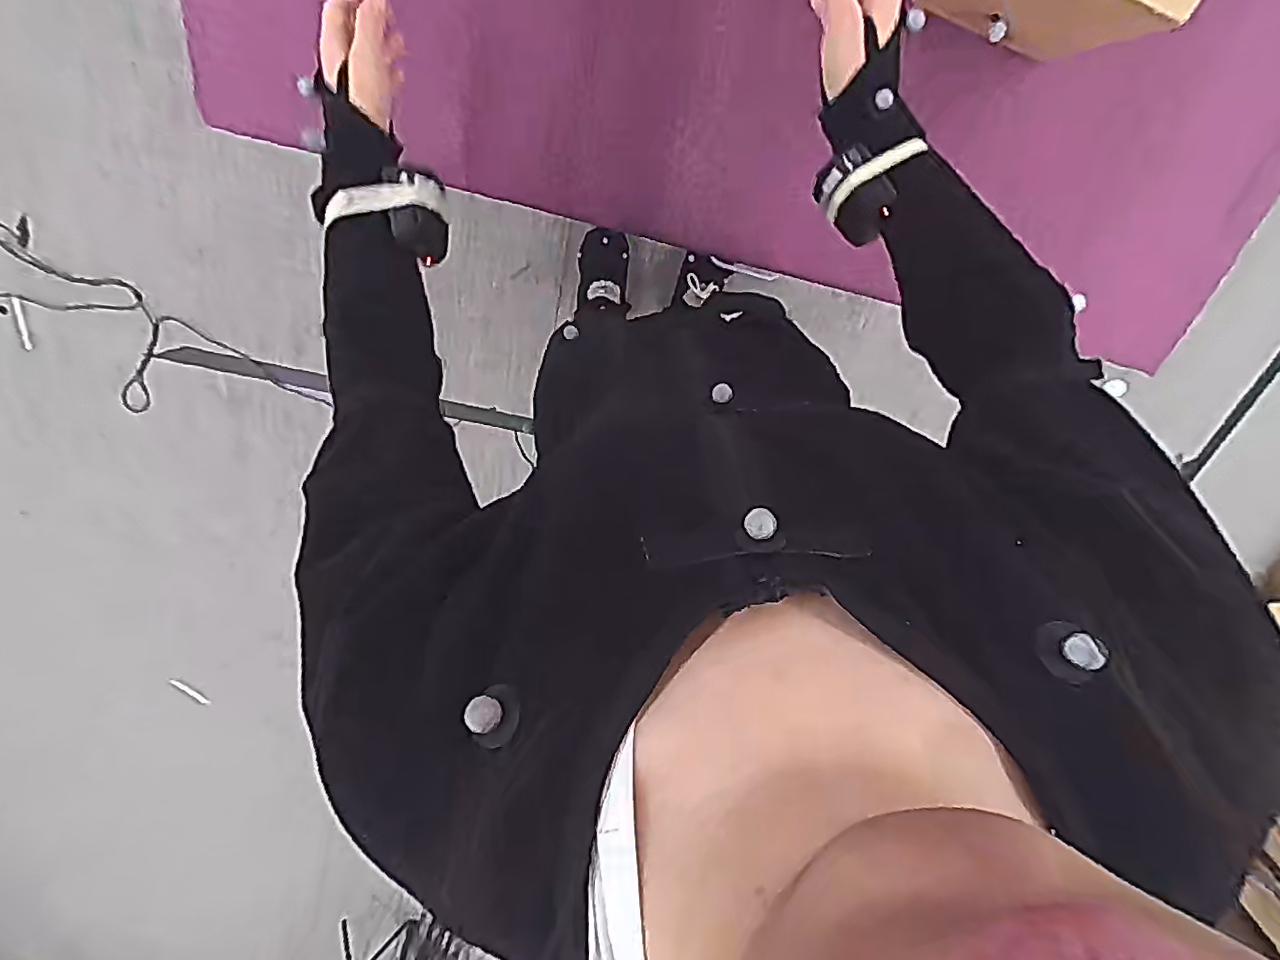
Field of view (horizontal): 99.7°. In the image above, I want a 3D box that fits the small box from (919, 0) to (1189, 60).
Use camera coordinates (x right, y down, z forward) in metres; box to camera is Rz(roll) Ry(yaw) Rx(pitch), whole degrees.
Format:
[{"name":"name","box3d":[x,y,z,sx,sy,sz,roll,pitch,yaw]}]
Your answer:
[{"name":"small box","box3d":[0.376,-0.497,0.454,0.168,0.176,0.179,14,118,-11]}]
